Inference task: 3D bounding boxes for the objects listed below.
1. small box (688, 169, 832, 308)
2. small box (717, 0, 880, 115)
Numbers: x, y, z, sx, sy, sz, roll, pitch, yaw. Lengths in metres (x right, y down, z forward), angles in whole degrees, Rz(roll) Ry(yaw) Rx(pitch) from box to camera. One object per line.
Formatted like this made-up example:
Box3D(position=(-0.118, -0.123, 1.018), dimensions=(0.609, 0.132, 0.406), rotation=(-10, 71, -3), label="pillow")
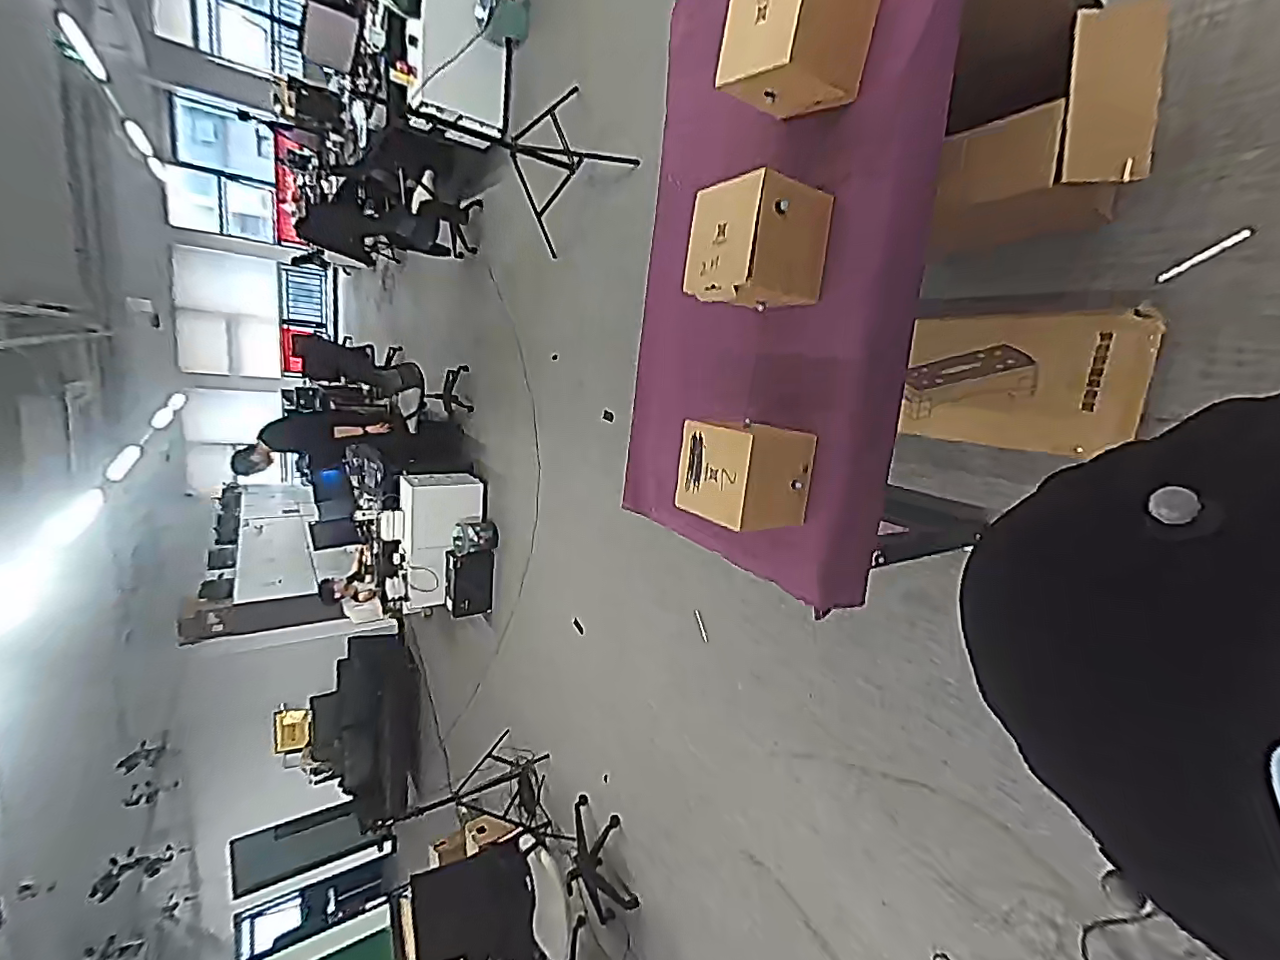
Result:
Box3D(position=(0.207, -0.404, 0.937), dimensions=(0.168, 0.176, 0.179), rotation=(22, 110, 55), label="small box")
Box3D(position=(0.251, -0.709, 0.857), dimensions=(0.168, 0.176, 0.179), rotation=(31, 117, 50), label="small box")
